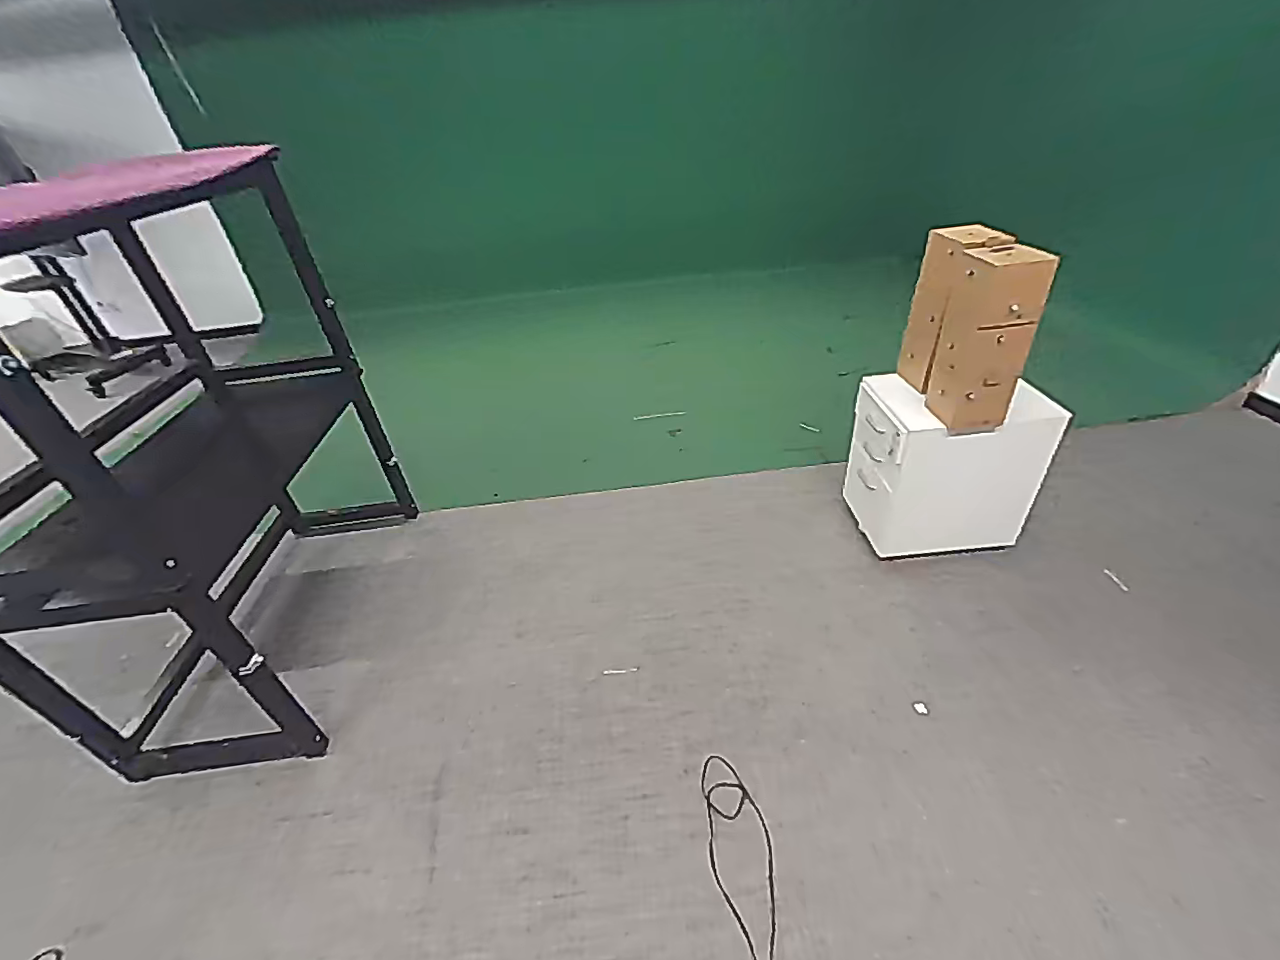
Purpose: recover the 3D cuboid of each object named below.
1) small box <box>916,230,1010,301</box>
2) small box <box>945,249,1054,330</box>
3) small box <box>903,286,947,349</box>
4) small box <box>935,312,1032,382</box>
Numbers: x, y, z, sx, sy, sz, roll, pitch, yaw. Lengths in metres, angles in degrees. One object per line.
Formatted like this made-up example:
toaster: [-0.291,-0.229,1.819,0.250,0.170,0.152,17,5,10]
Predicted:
small box: [1.007,-0.676,1.705,0.168,0.176,0.179,-8,38,-5]
small box: [0.984,-0.529,1.501,0.168,0.176,0.179,-7,35,0]
small box: [1.013,-0.545,1.802,0.168,0.176,0.179,-8,37,-5]
small box: [1.001,-0.399,1.600,0.179,0.176,0.168,-6,35,0]
